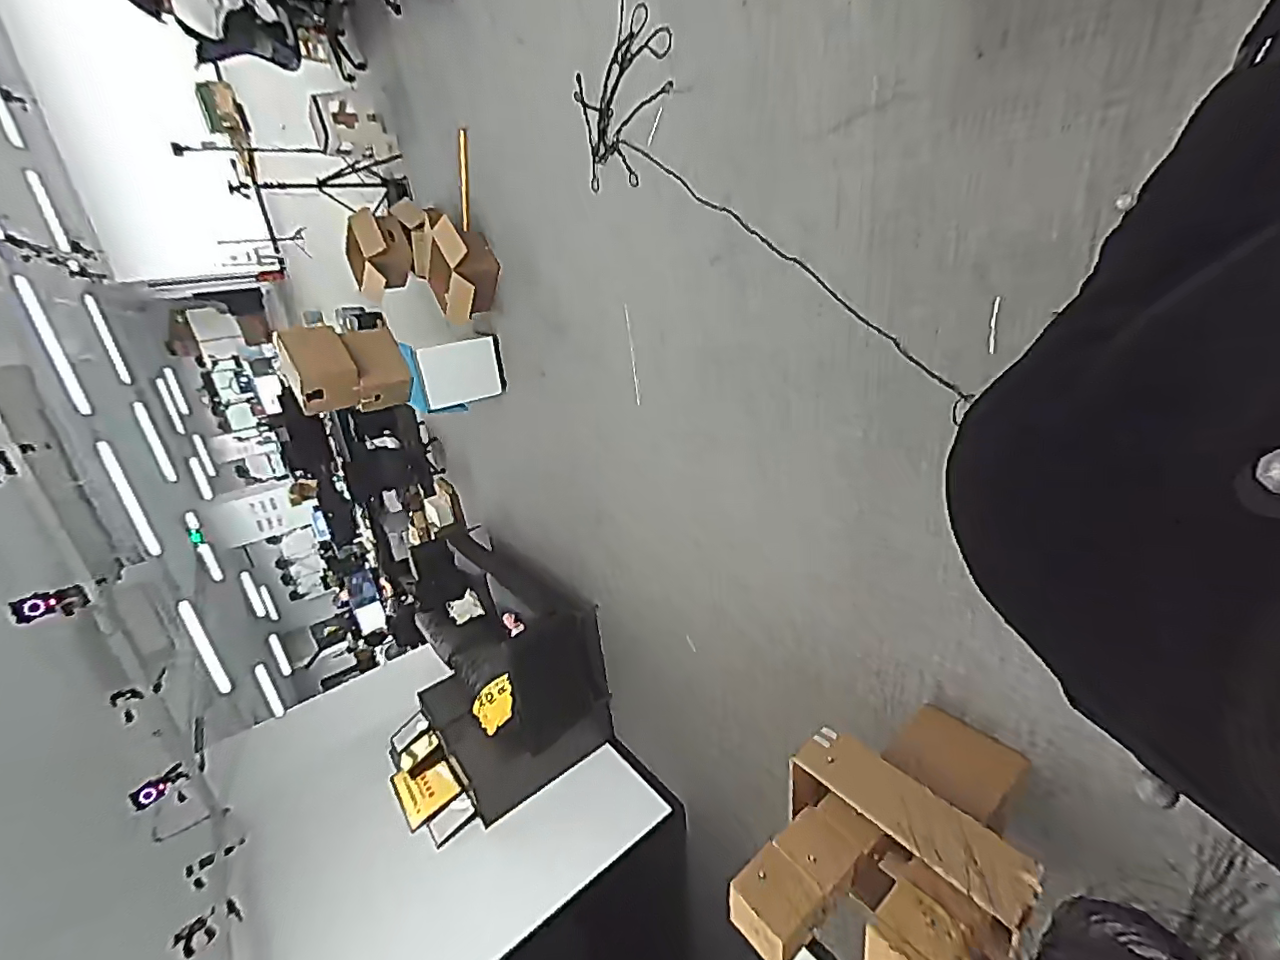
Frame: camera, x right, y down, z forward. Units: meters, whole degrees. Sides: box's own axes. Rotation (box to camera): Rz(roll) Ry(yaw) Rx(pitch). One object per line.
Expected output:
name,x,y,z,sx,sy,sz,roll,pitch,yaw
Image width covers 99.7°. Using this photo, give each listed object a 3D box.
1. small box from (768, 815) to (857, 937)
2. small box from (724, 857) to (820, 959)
small box,0.474,1.085,1.495,0.179,0.176,0.168,27,127,48
small box,0.342,1.138,1.415,0.179,0.176,0.168,26,127,47
